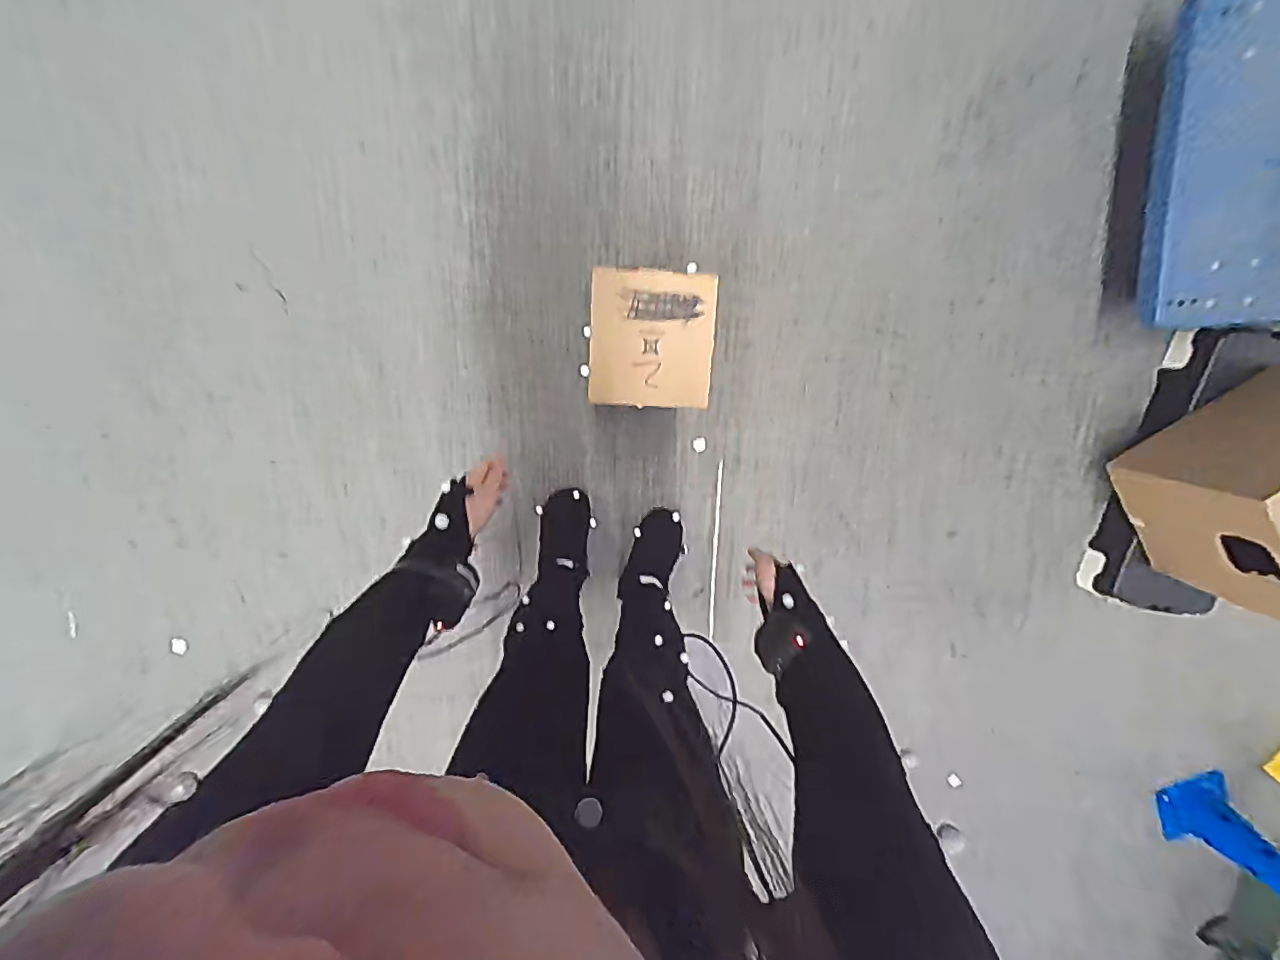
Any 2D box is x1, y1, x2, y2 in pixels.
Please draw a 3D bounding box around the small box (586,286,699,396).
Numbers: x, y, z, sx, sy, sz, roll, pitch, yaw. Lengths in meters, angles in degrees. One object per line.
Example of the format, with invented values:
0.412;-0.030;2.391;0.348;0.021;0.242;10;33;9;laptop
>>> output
-0.001;-0.240;0.953;0.179;0.176;0.168;2;104;-4;small box
